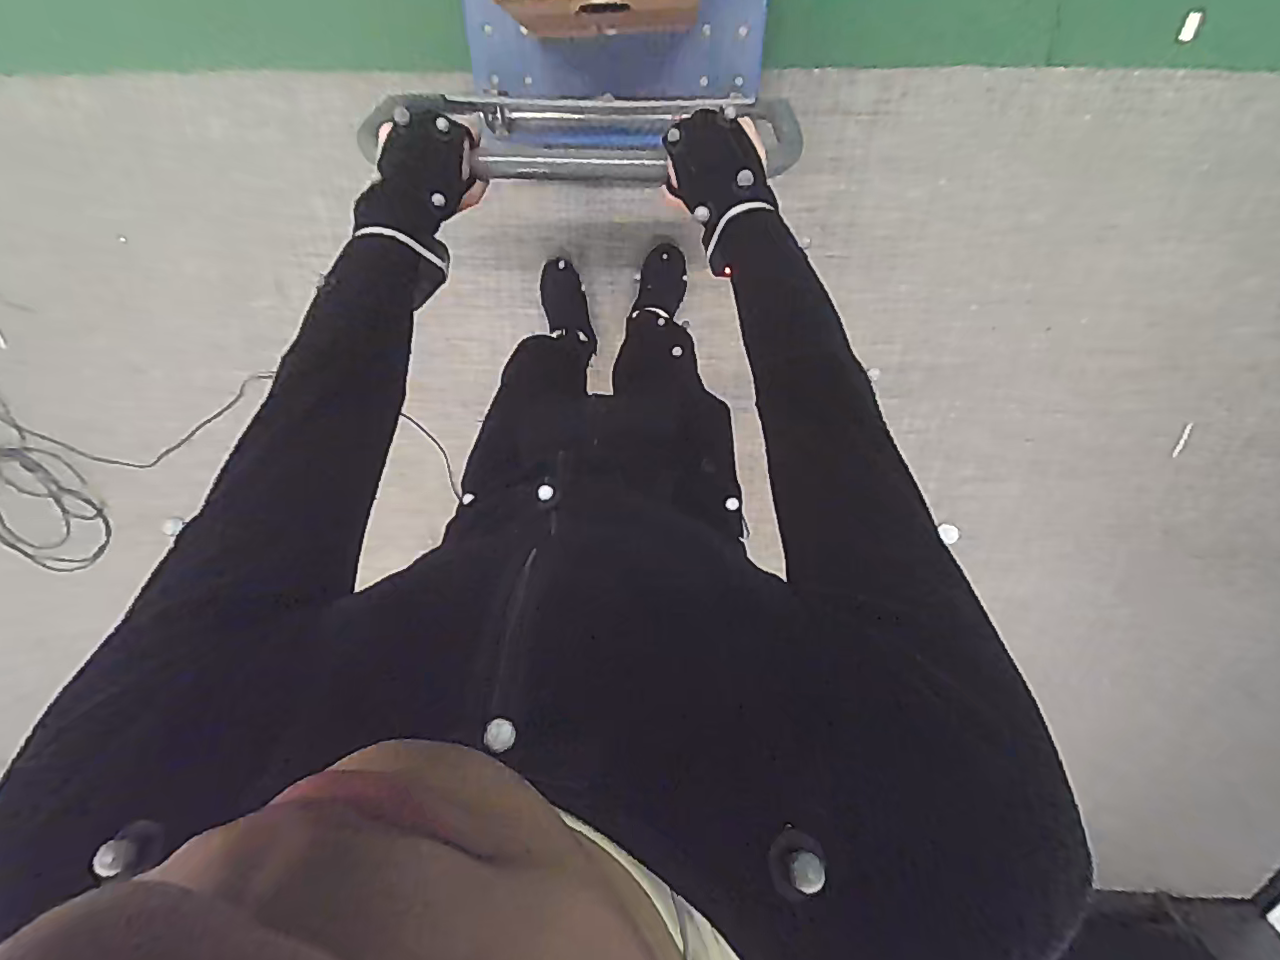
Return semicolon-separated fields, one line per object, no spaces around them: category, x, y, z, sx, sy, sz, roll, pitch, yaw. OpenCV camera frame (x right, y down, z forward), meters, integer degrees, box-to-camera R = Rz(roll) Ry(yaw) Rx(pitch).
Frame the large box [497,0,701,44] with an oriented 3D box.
large box;-0.062;-0.948;0.819;0.320;0.320;0.408;-1;121;3
